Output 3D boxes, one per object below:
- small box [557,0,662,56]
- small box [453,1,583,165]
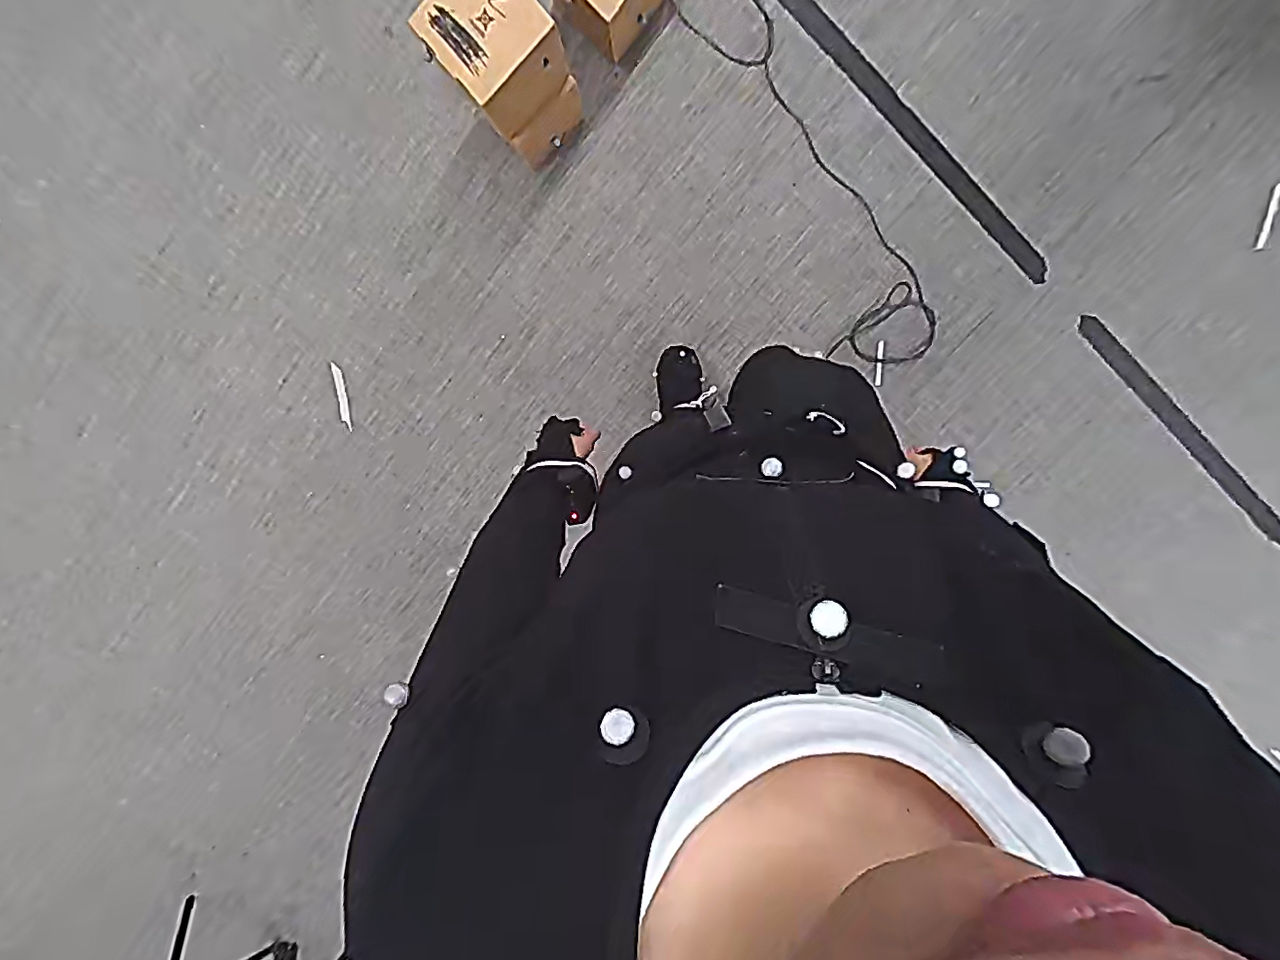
[{"bbox_3d":[-0.065,-0.977,1.037,0.179,0.176,0.168,41,103,-10],"label":"small box"},{"bbox_3d":[-0.235,-0.780,1.089,0.168,0.176,0.179,-41,102,10],"label":"small box"}]
